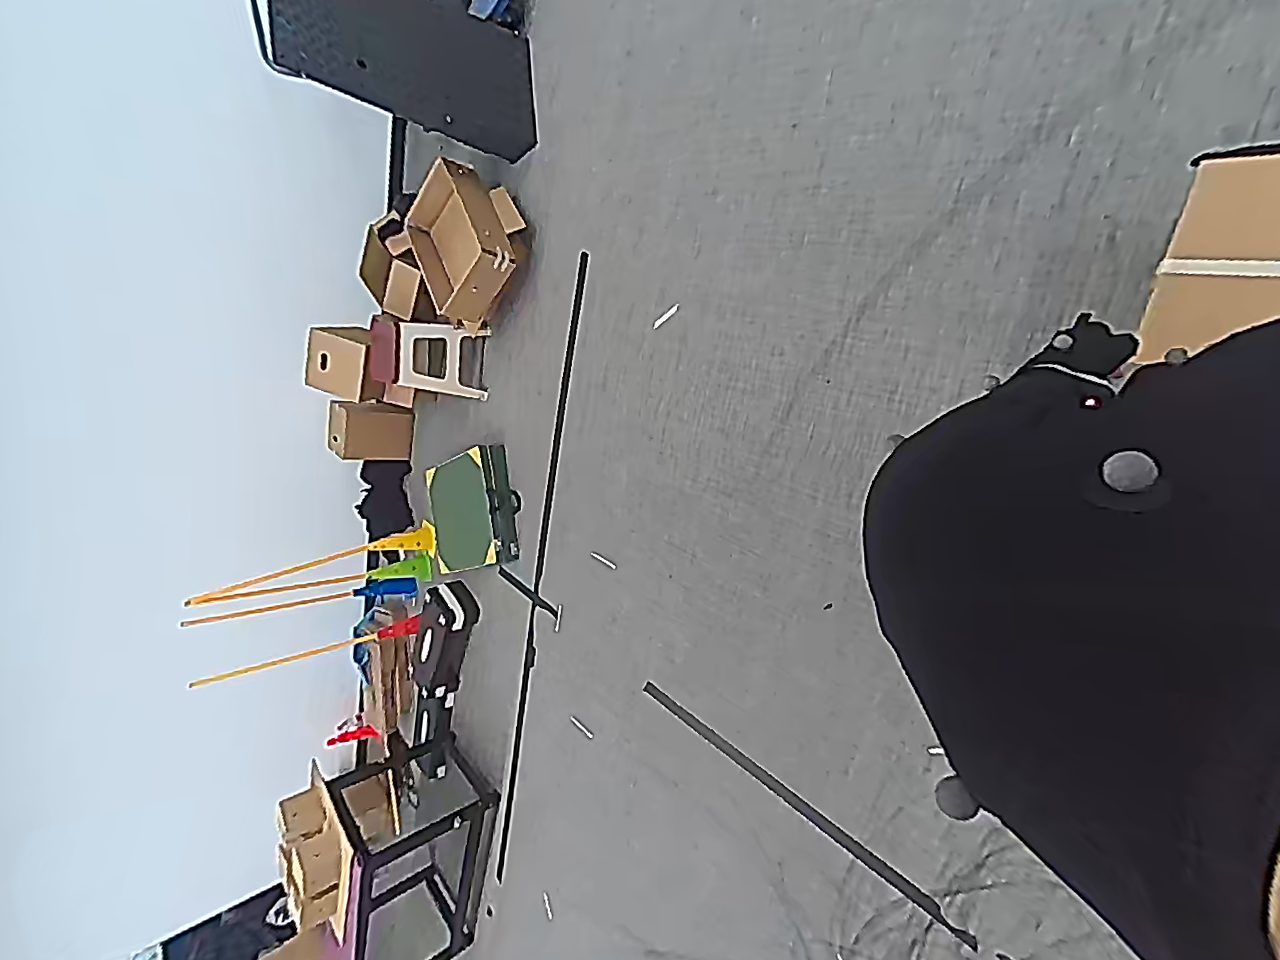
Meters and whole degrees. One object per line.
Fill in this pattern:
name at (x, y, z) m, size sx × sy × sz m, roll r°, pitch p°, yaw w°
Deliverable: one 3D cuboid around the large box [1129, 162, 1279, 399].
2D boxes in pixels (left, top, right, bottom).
large box at (1.086, -0.292, 0.857) m, size 0.408 × 0.320 × 0.320 m, roll 22°, pitch 108°, yaw 40°
